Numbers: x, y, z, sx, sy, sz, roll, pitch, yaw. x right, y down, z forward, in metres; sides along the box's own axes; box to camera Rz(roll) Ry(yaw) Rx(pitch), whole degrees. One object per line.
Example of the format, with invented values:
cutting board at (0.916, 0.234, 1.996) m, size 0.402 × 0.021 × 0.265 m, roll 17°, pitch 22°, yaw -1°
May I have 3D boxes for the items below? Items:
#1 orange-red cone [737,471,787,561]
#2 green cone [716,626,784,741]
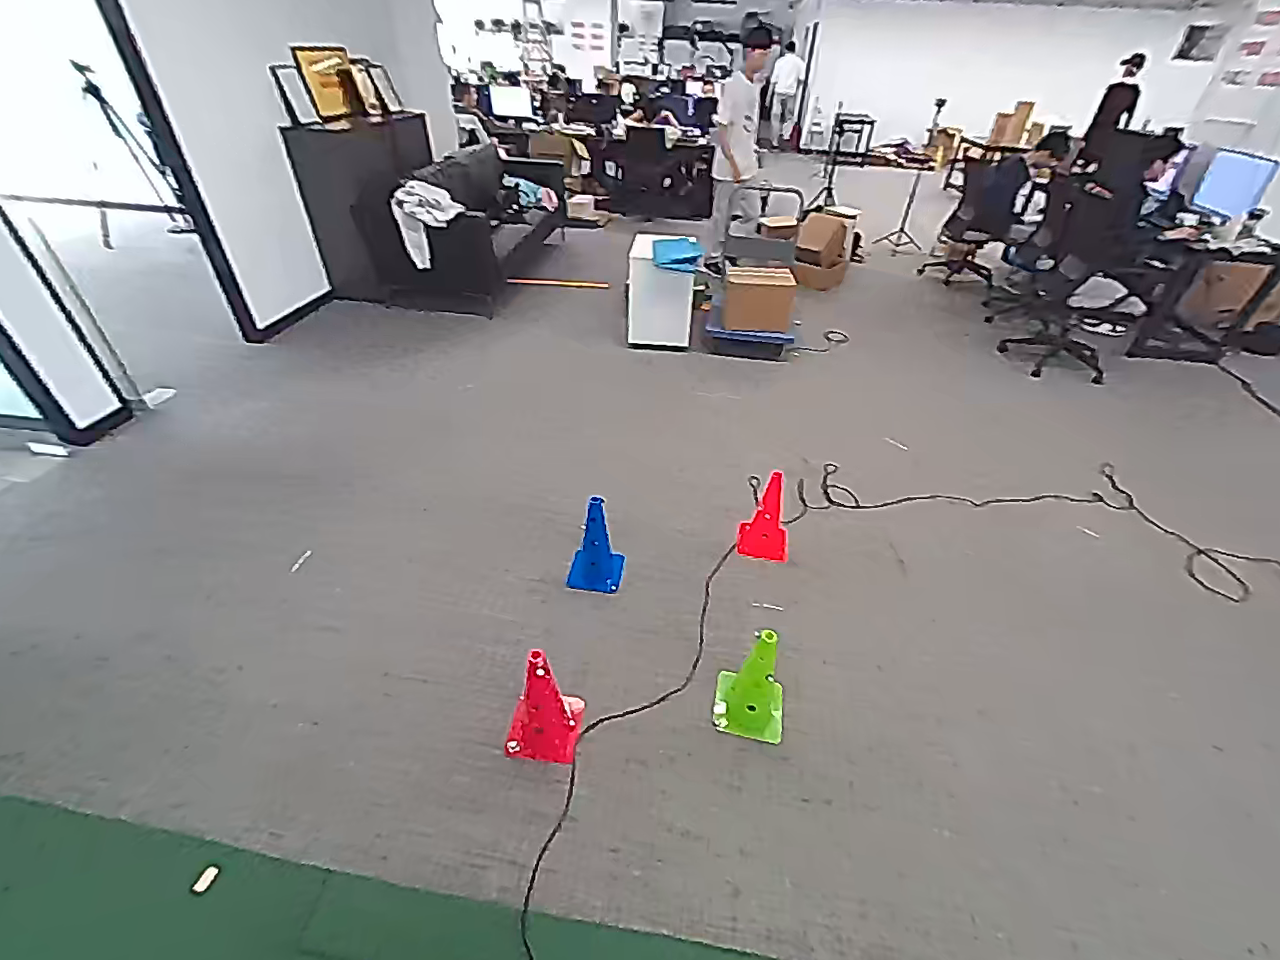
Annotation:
orange-red cone at (0.504, 0.117, 2.110) m, size 0.198 × 0.360 × 0.199 m, roll 9°, pitch 40°, yaw 11°
green cone at (0.344, 0.550, 1.542) m, size 0.200 × 0.368 × 0.202 m, roll 9°, pitch 37°, yaw 8°
